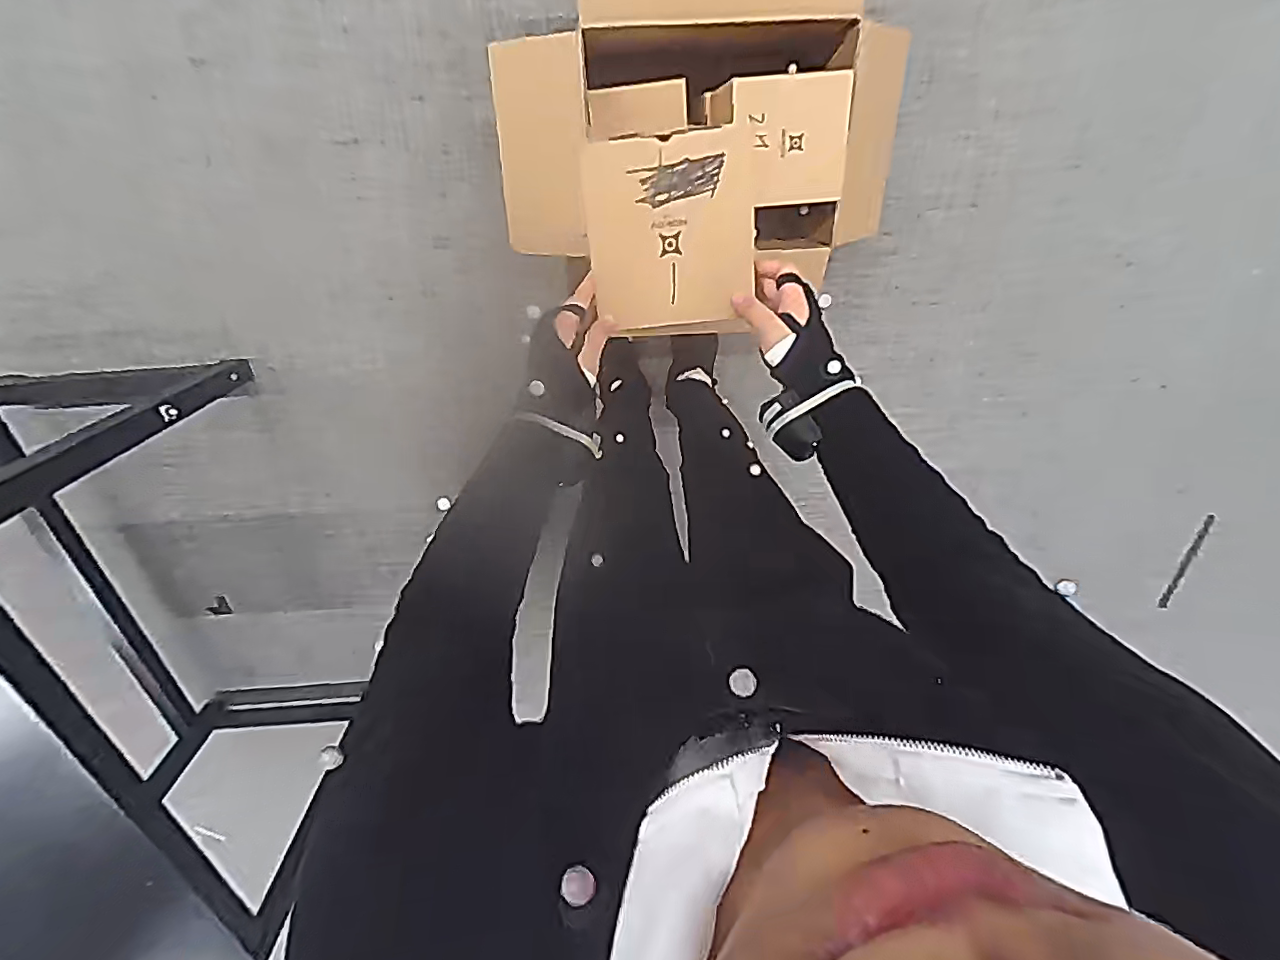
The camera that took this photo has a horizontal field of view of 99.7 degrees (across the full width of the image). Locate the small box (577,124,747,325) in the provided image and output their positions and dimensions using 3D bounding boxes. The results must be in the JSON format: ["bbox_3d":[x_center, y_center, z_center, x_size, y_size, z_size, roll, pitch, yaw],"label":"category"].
[{"bbox_3d":[0.025,-0.283,0.617,0.168,0.176,0.179,-4,115,2],"label":"small box"}]

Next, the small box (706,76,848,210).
[{"bbox_3d":[0.207,-0.533,0.867,0.179,0.176,0.168,-5,119,-2],"label":"small box"}]
